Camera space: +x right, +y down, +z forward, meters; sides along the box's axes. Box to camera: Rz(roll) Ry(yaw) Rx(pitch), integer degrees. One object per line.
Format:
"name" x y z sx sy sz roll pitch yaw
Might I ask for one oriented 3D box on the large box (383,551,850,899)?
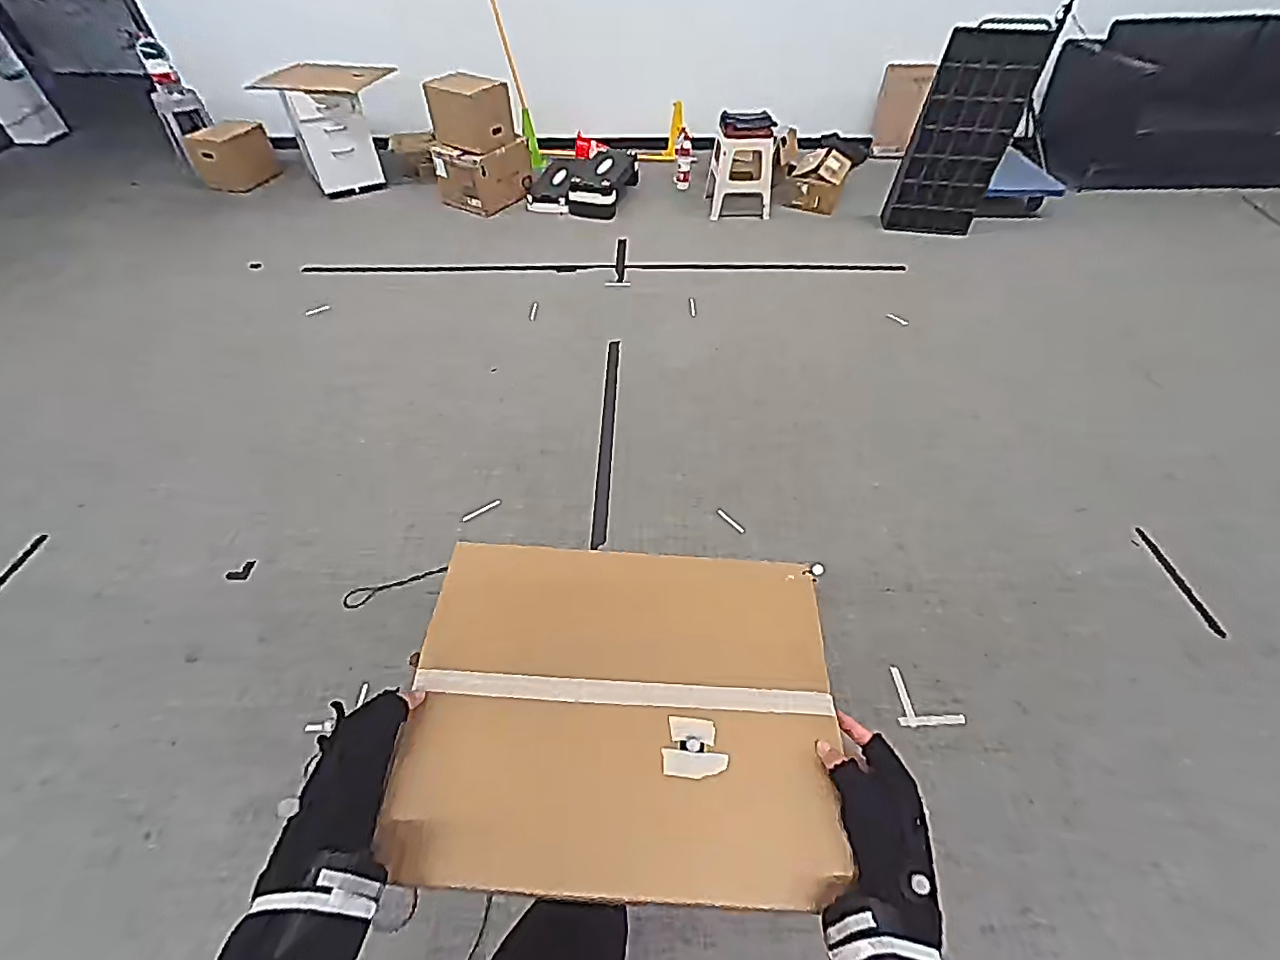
"large box" -0.021 0.306 0.660 0.408 0.320 0.320 4 52 0
